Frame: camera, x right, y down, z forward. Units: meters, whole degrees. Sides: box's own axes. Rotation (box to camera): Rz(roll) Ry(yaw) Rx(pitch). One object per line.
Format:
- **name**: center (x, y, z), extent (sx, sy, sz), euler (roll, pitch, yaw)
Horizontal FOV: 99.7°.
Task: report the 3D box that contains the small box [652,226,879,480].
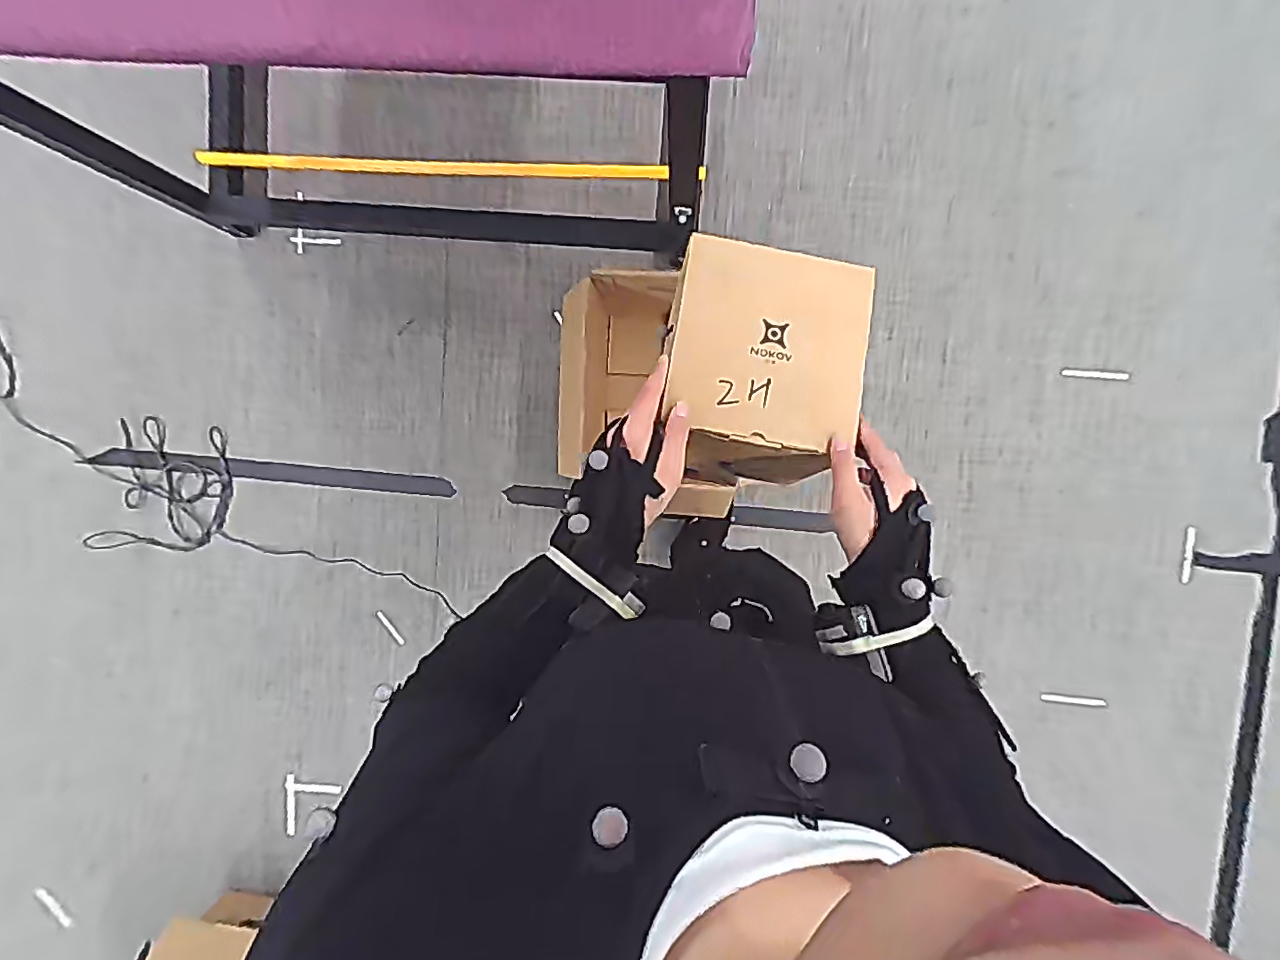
- **small box**: center (0.109, -0.108, 0.532), extent (0.168, 0.176, 0.179), euler (11, 82, -1)
